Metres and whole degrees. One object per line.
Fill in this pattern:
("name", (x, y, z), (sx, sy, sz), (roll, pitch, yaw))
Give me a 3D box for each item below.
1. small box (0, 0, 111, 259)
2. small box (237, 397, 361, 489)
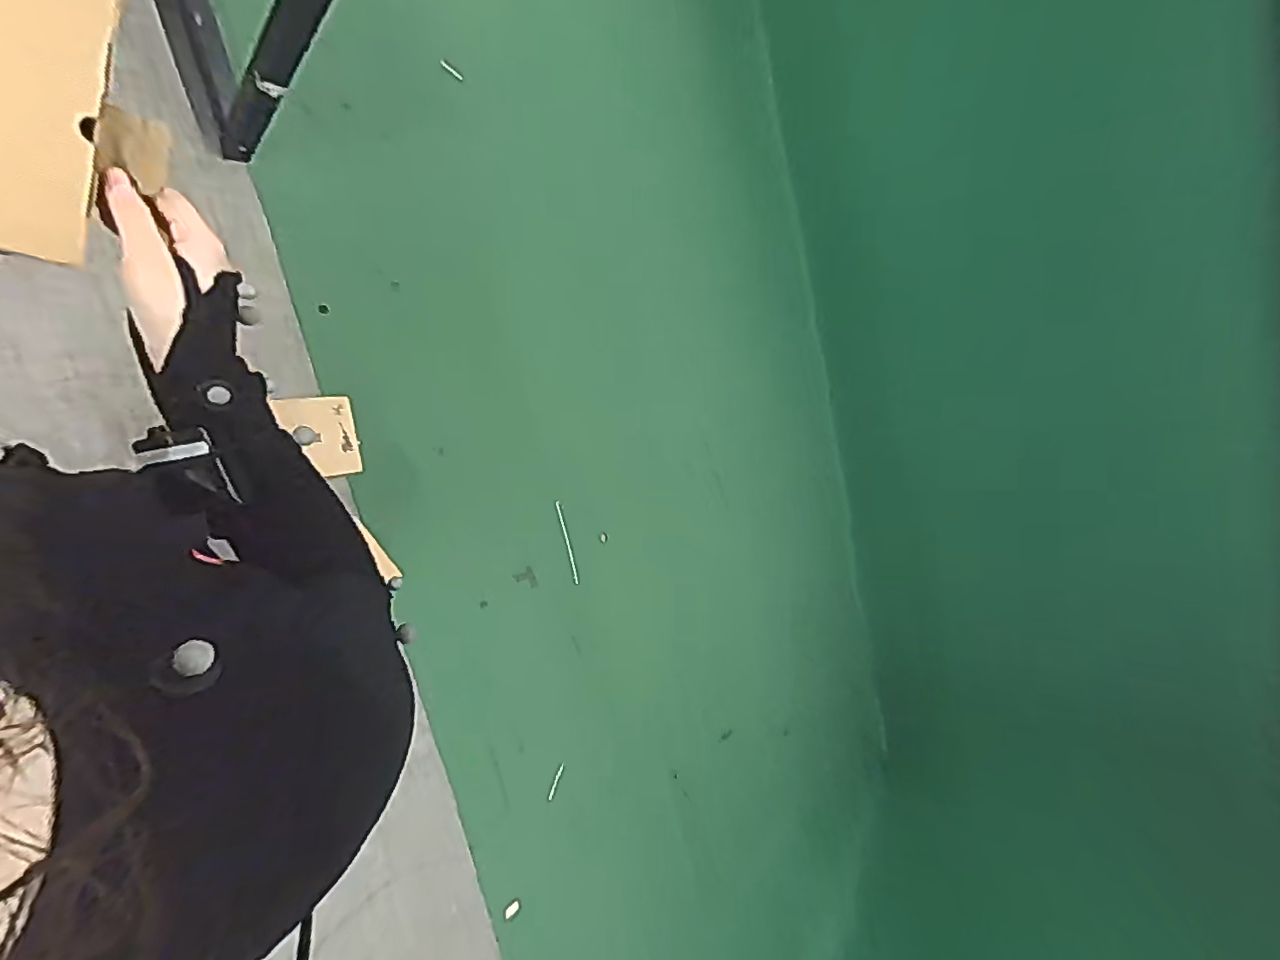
("small box", (-0.429, -0.232, 0.287), (0.179, 0.176, 0.168), (3, 104, -56))
("small box", (-0.722, -0.077, 1.139), (0.179, 0.176, 0.168), (-13, 95, -47))
